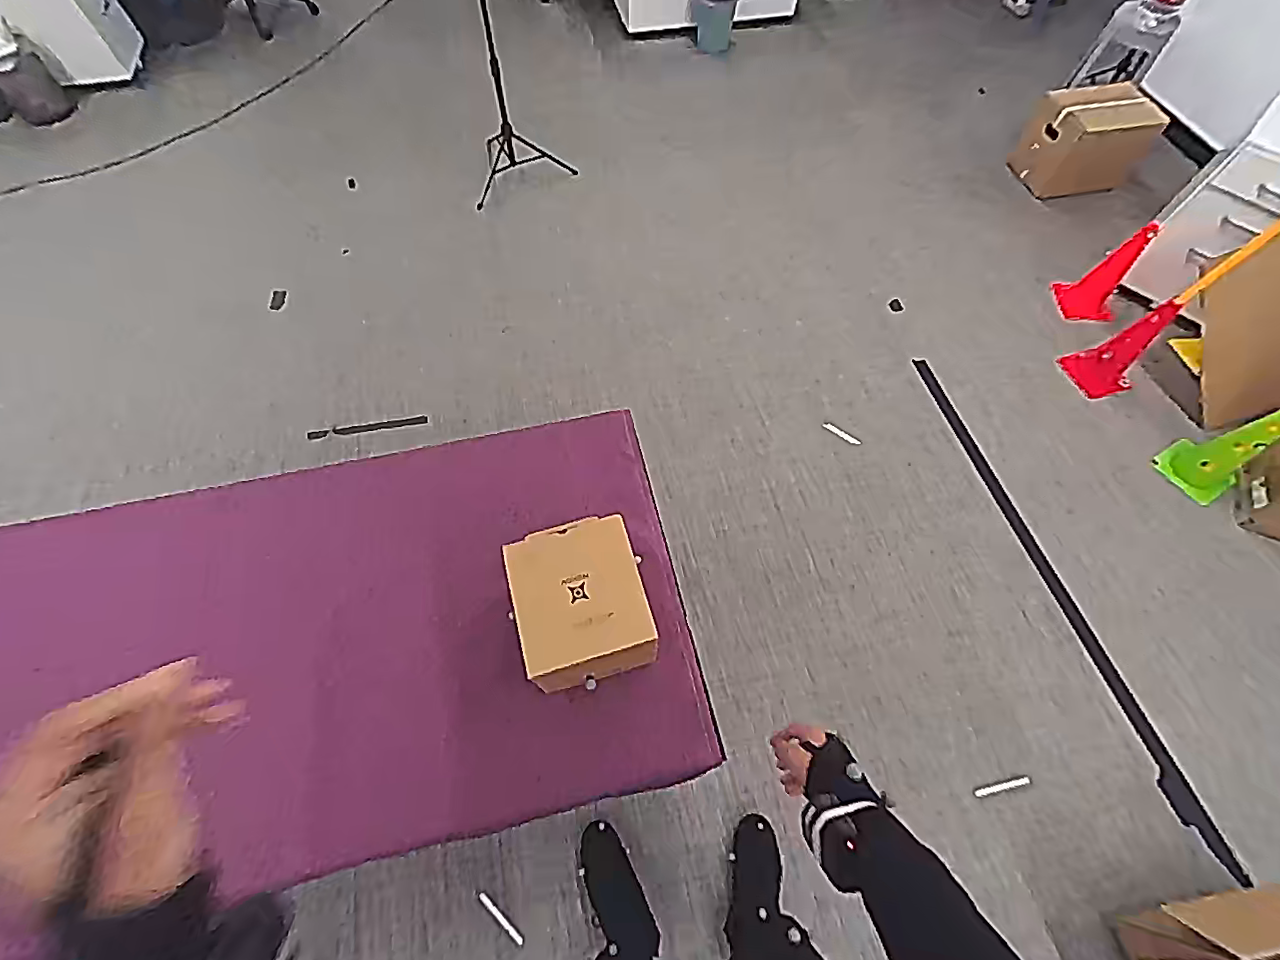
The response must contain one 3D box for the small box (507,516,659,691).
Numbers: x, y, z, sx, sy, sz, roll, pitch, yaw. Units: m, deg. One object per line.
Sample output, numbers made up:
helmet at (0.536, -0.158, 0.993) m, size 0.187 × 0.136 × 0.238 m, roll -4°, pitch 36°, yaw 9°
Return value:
small box at (-0.078, 0.178, 0.762) m, size 0.168 × 0.176 × 0.179 m, roll -15°, pitch 63°, yaw -7°
